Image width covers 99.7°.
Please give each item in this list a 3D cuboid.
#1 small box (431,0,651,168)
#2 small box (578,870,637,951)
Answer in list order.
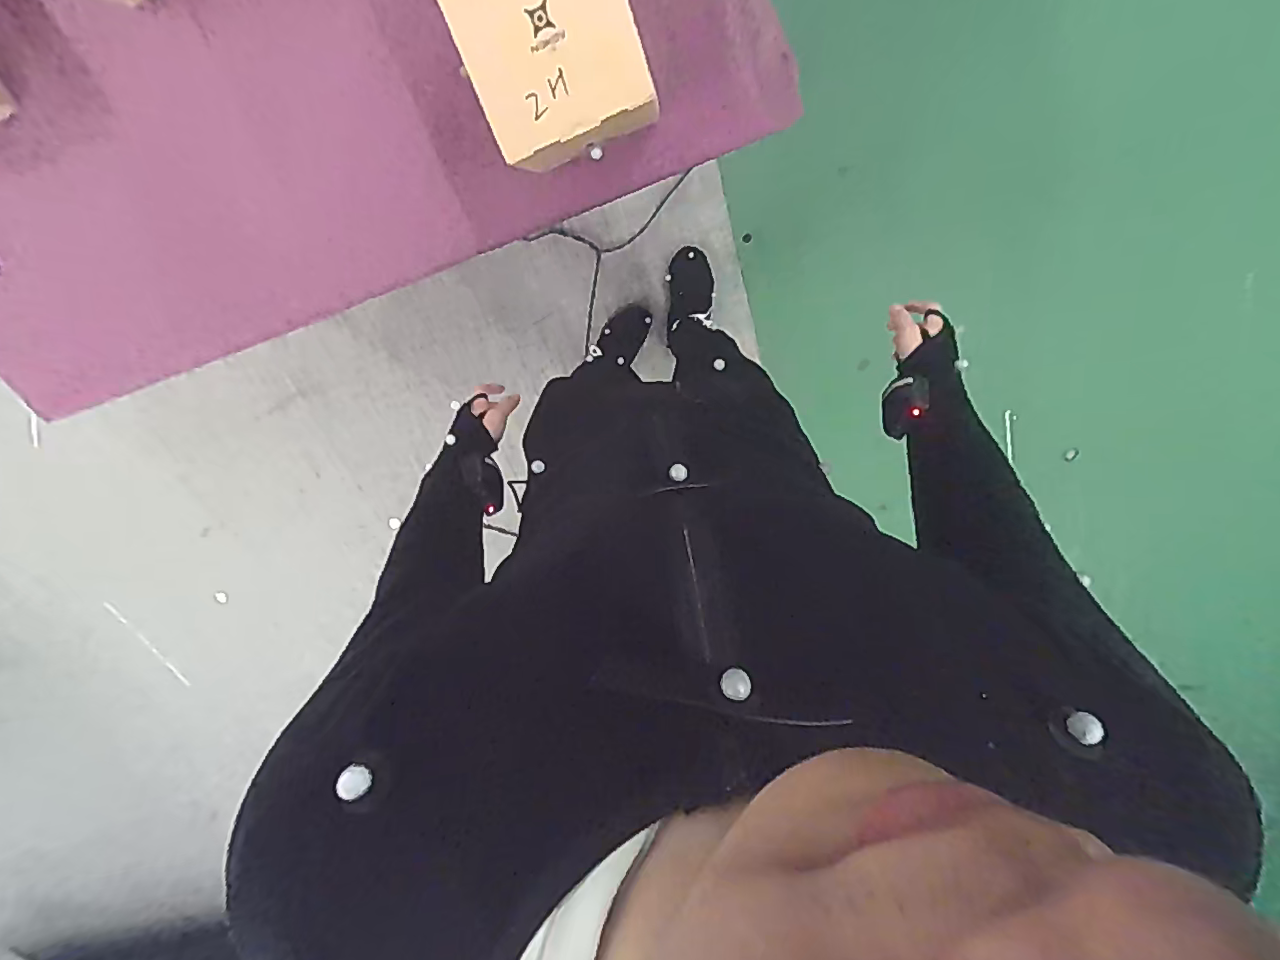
[{"bbox_3d":[-0.093,-0.453,0.567,0.168,0.176,0.179,-18,116,12],"label":"small box"},{"bbox_3d":[-0.110,1.519,1.911,0.168,0.176,0.179,-10,114,7],"label":"small box"}]
